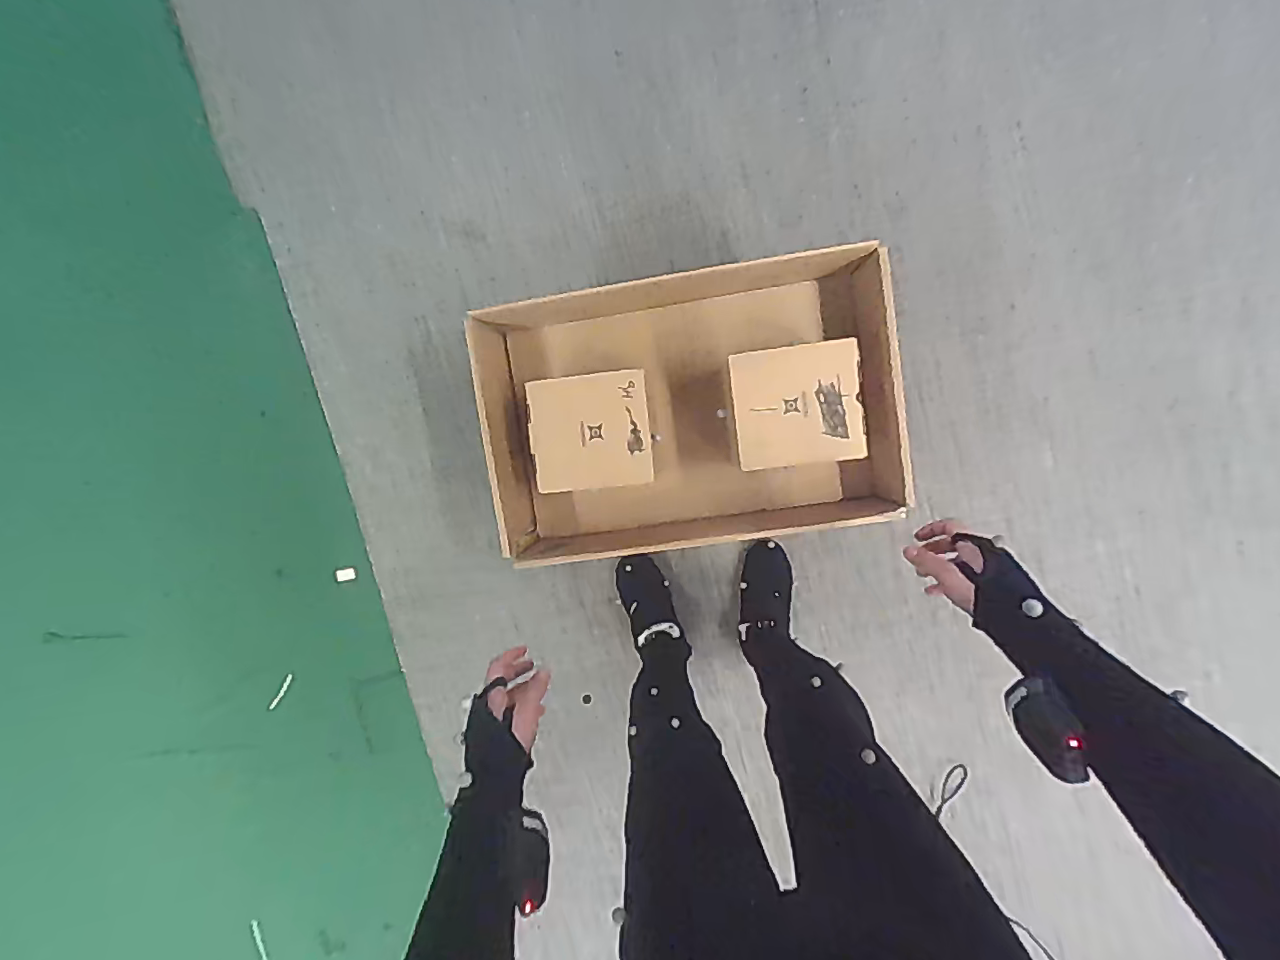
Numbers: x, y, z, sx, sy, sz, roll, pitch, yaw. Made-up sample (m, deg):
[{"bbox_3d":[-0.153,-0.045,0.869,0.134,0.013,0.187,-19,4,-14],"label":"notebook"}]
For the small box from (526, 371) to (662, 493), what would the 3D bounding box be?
[{"bbox_3d":[-0.064,-0.073,0.858,0.179,0.176,0.168,-5,94,7],"label":"small box"}]
